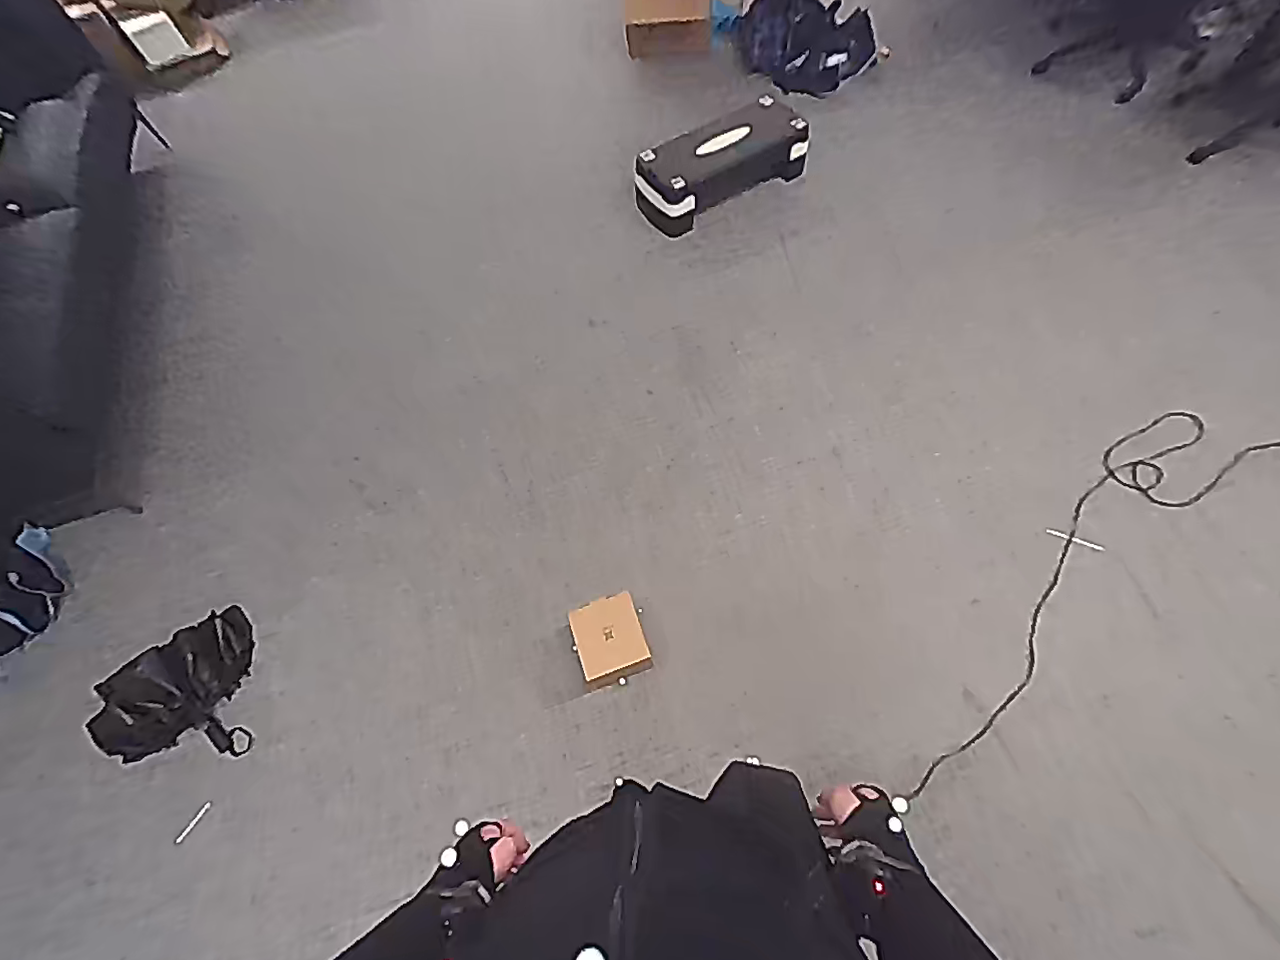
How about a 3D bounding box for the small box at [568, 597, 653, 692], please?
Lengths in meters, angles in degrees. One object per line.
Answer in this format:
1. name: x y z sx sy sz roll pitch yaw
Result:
1. small box: -0.072 0.425 1.386 0.168 0.176 0.179 -20 64 -4
